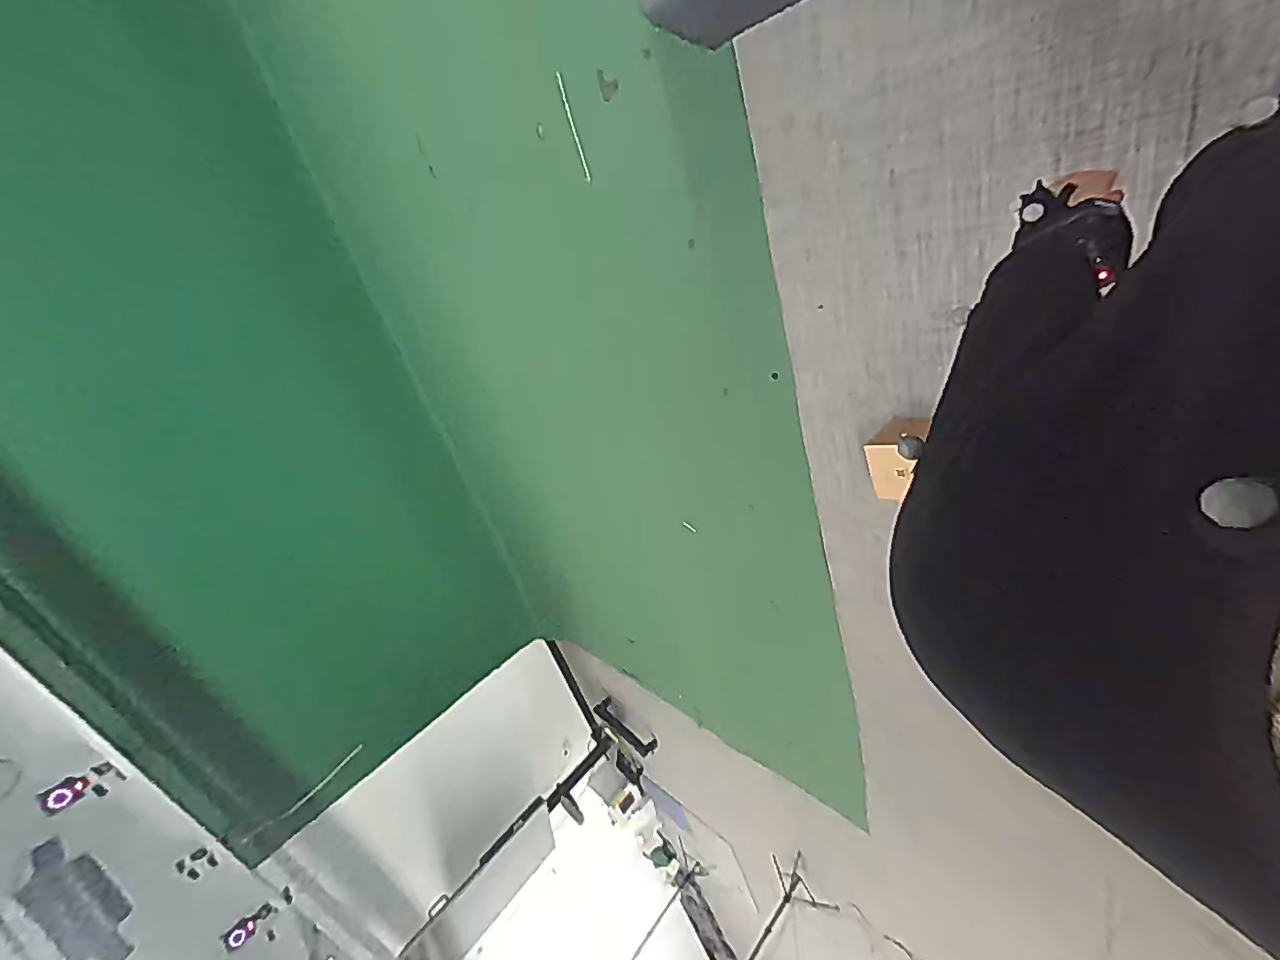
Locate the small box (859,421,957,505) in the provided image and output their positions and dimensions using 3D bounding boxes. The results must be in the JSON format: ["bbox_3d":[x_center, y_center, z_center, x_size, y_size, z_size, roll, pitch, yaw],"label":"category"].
[{"bbox_3d":[0.718,-0.049,1.435,0.179,0.176,0.168,4,121,52],"label":"small box"}]
